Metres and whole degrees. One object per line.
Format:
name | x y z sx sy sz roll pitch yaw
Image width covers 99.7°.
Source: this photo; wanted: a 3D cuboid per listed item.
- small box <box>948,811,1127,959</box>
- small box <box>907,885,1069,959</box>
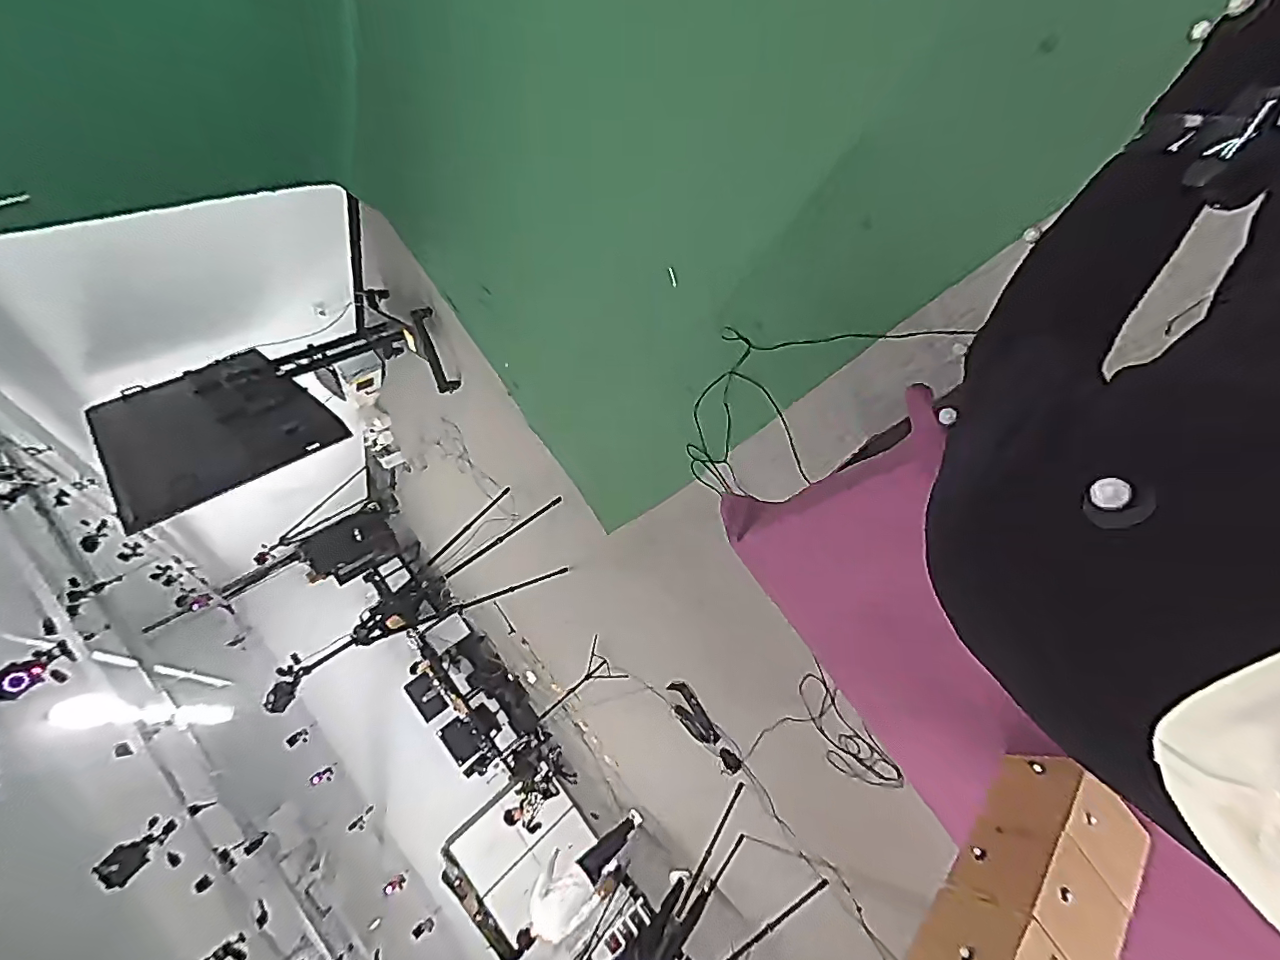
small box | 0.690 0.720 0.943 0.179 0.176 0.168 54 148 5
small box | 0.572 0.798 0.862 0.168 0.176 0.179 54 148 6
